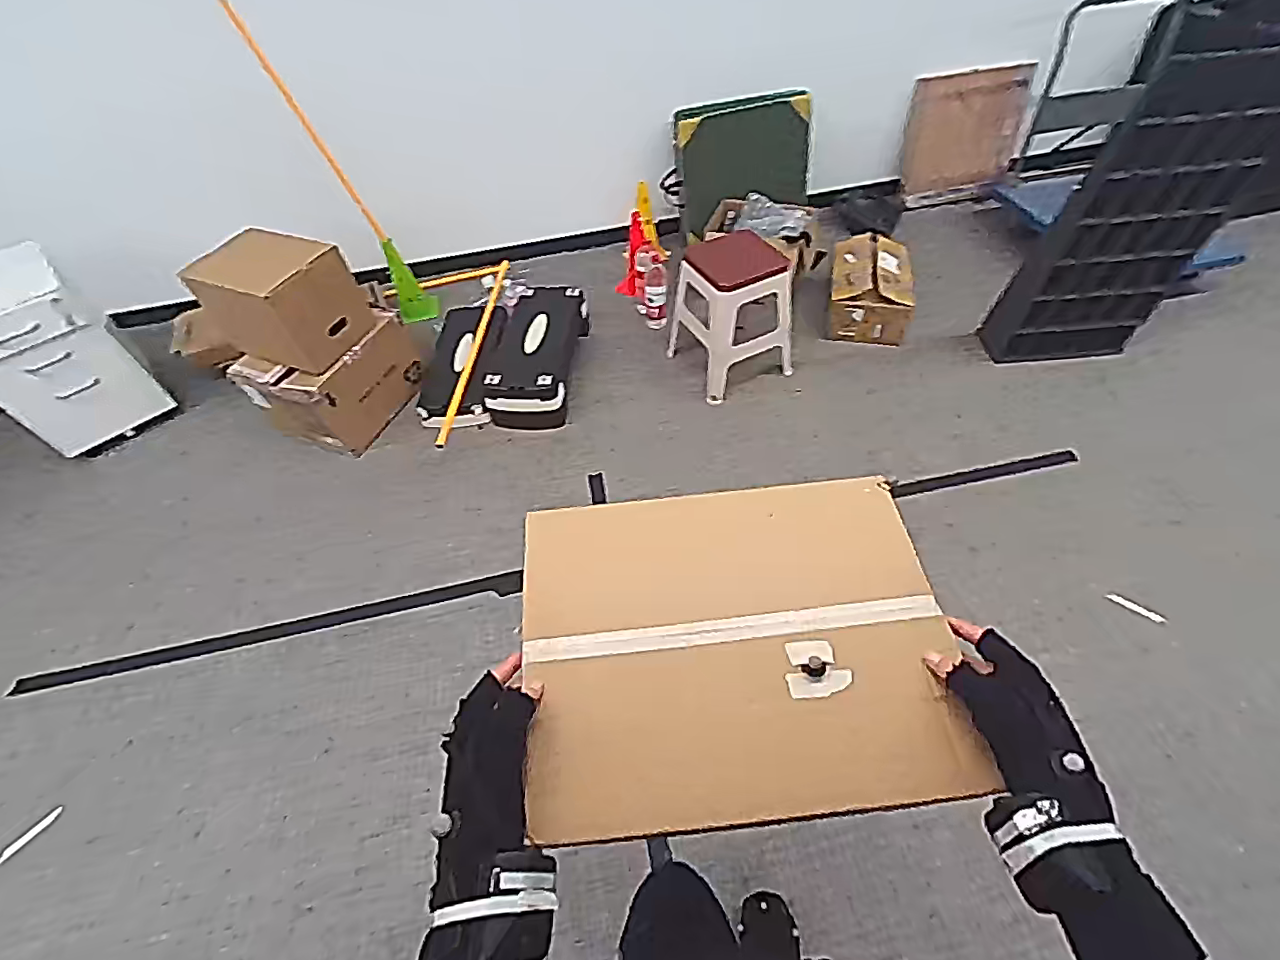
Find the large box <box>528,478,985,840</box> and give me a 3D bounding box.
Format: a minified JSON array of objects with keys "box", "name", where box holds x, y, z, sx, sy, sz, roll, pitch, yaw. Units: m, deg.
[{"box":[0.091,0.230,0.664,0.408,0.320,0.320,-7,57,-1],"name":"large box"}]
